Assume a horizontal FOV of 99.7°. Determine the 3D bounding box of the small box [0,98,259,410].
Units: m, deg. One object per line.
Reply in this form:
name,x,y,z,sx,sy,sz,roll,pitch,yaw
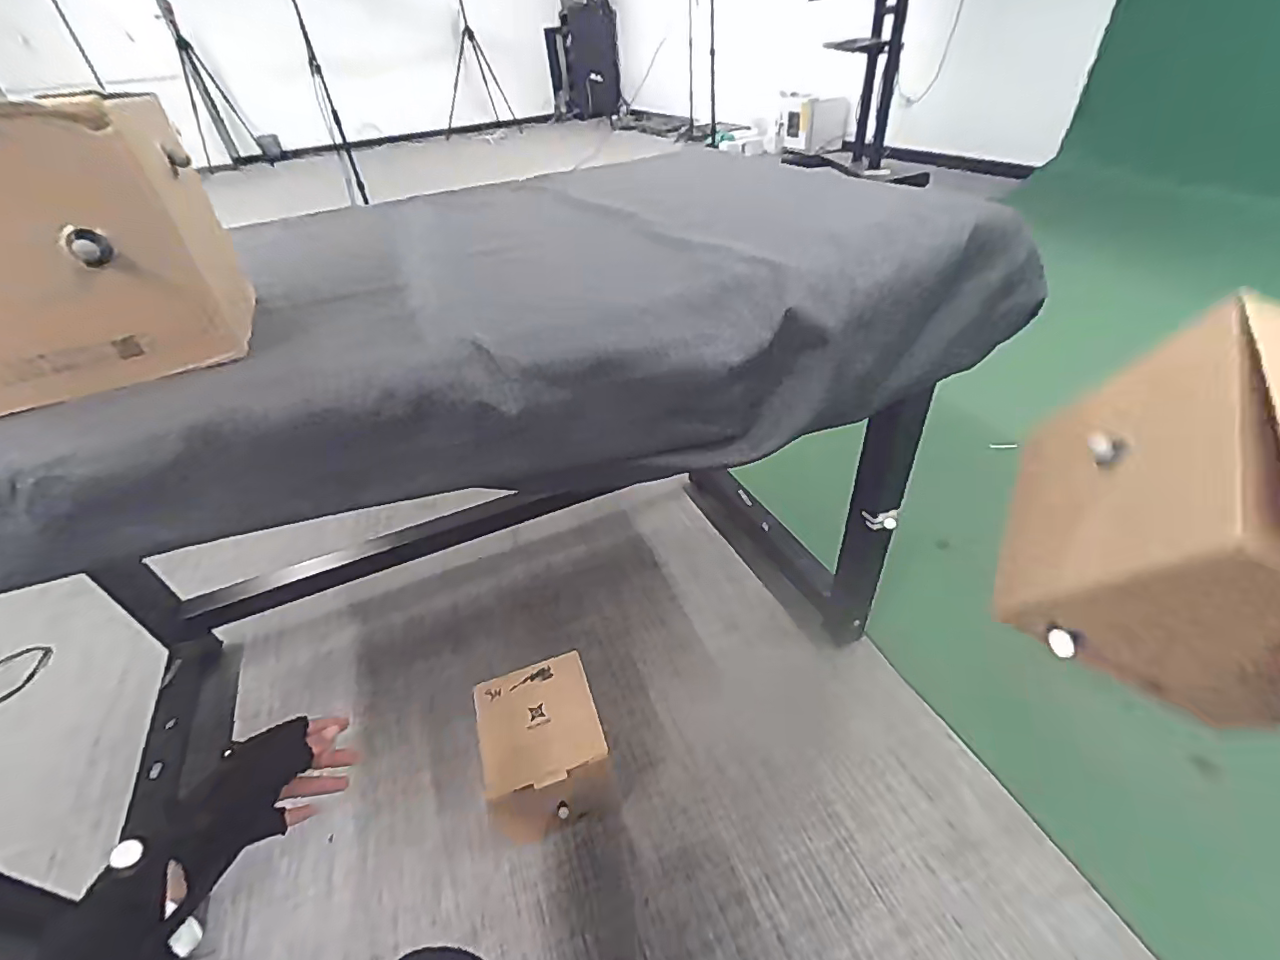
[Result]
small box,-0.411,-0.166,0.395,0.168,0.176,0.179,-21,39,-20
